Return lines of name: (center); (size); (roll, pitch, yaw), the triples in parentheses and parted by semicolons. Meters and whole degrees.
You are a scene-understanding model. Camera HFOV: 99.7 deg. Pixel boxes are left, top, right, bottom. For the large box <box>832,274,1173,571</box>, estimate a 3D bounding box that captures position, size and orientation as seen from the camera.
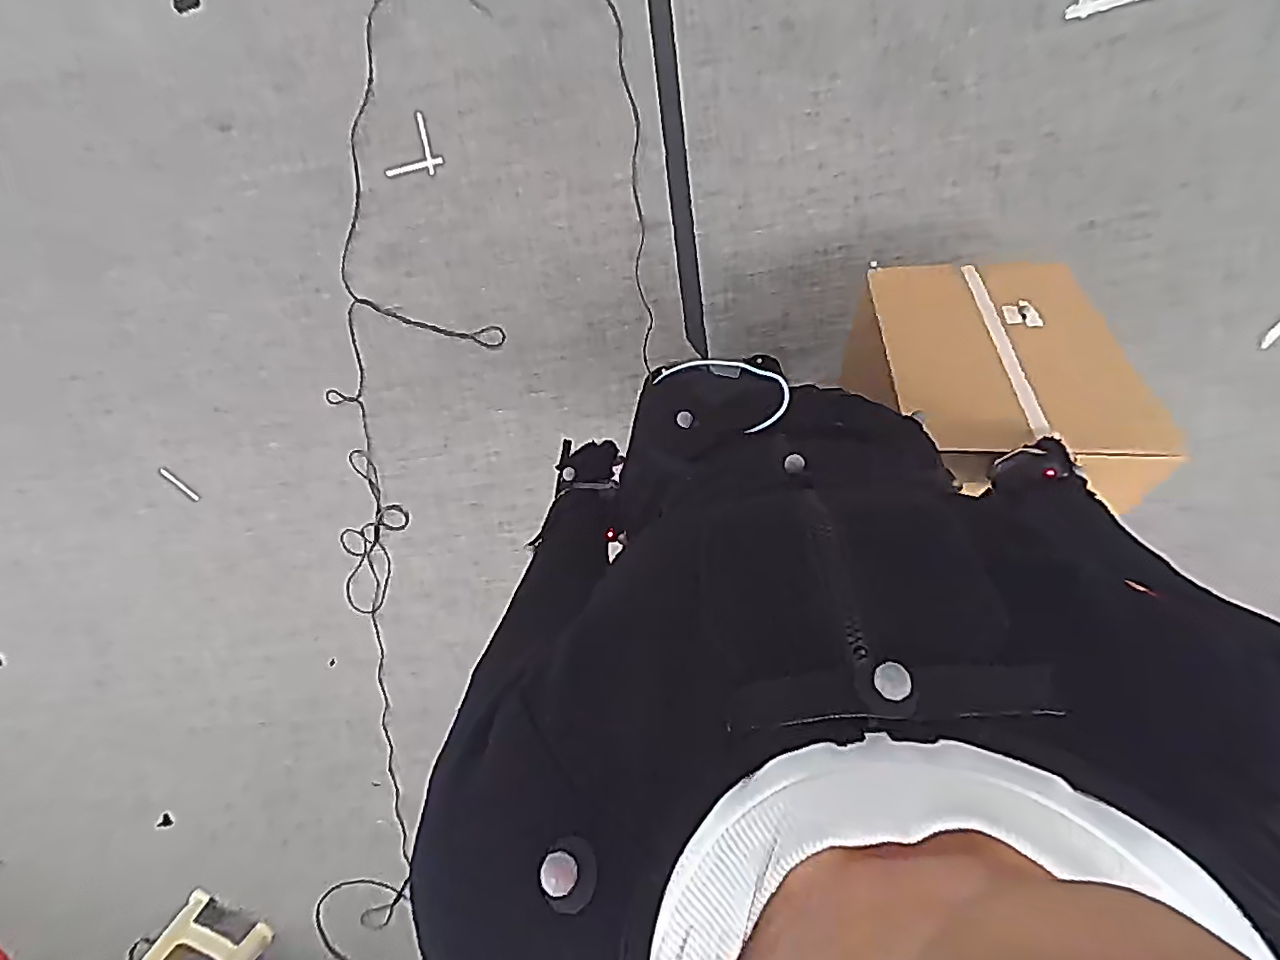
large box: (0.531, -0.095, 0.912); (0.320, 0.408, 0.320); (2, 142, 6)
